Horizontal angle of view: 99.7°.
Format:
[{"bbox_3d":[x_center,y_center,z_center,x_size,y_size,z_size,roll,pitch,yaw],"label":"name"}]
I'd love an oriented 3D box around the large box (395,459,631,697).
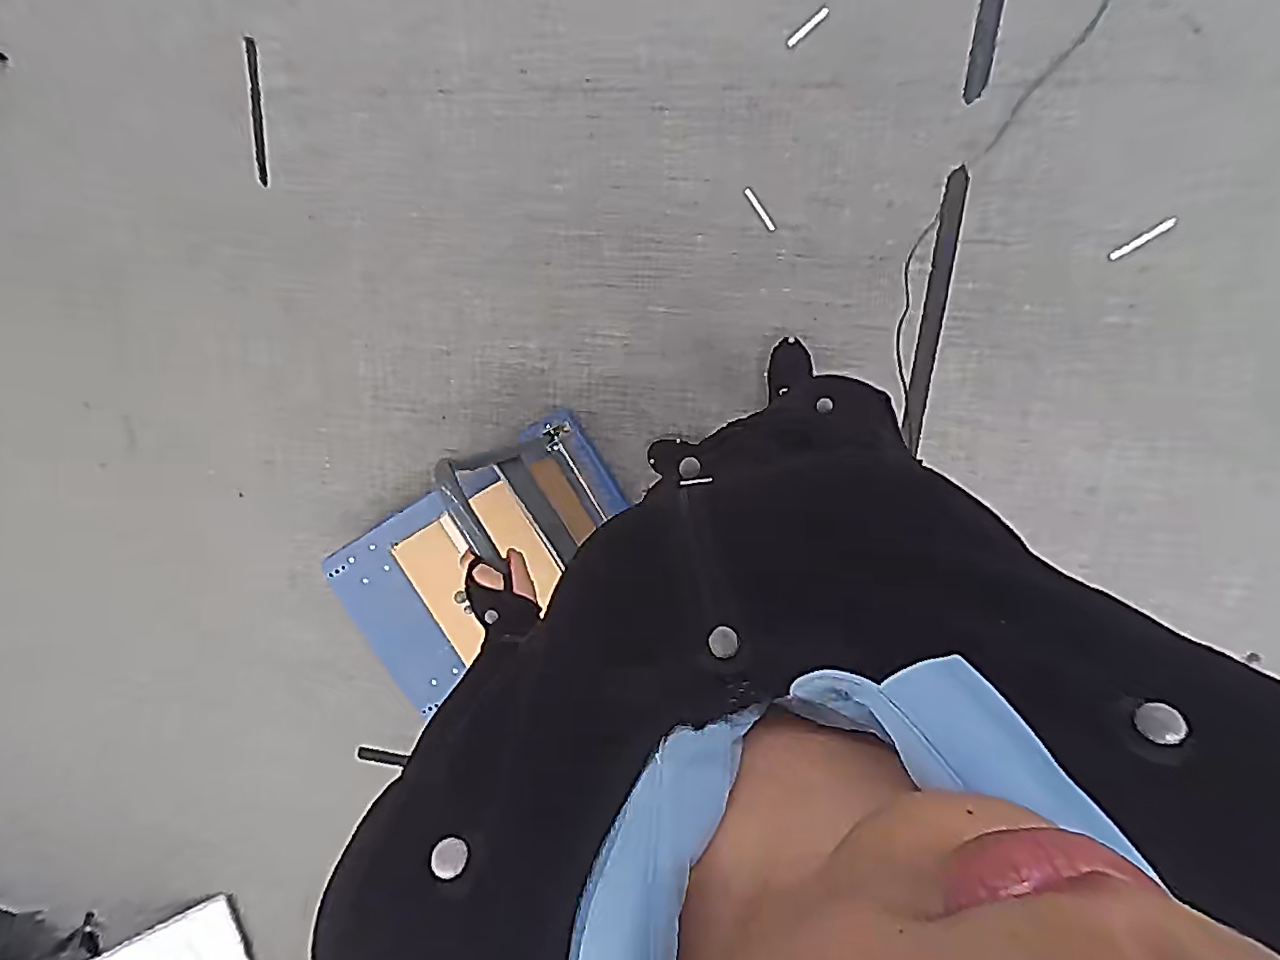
[{"bbox_3d":[-0.271,0.211,1.279,0.320,0.320,0.408,-30,94,13],"label":"large box"}]
